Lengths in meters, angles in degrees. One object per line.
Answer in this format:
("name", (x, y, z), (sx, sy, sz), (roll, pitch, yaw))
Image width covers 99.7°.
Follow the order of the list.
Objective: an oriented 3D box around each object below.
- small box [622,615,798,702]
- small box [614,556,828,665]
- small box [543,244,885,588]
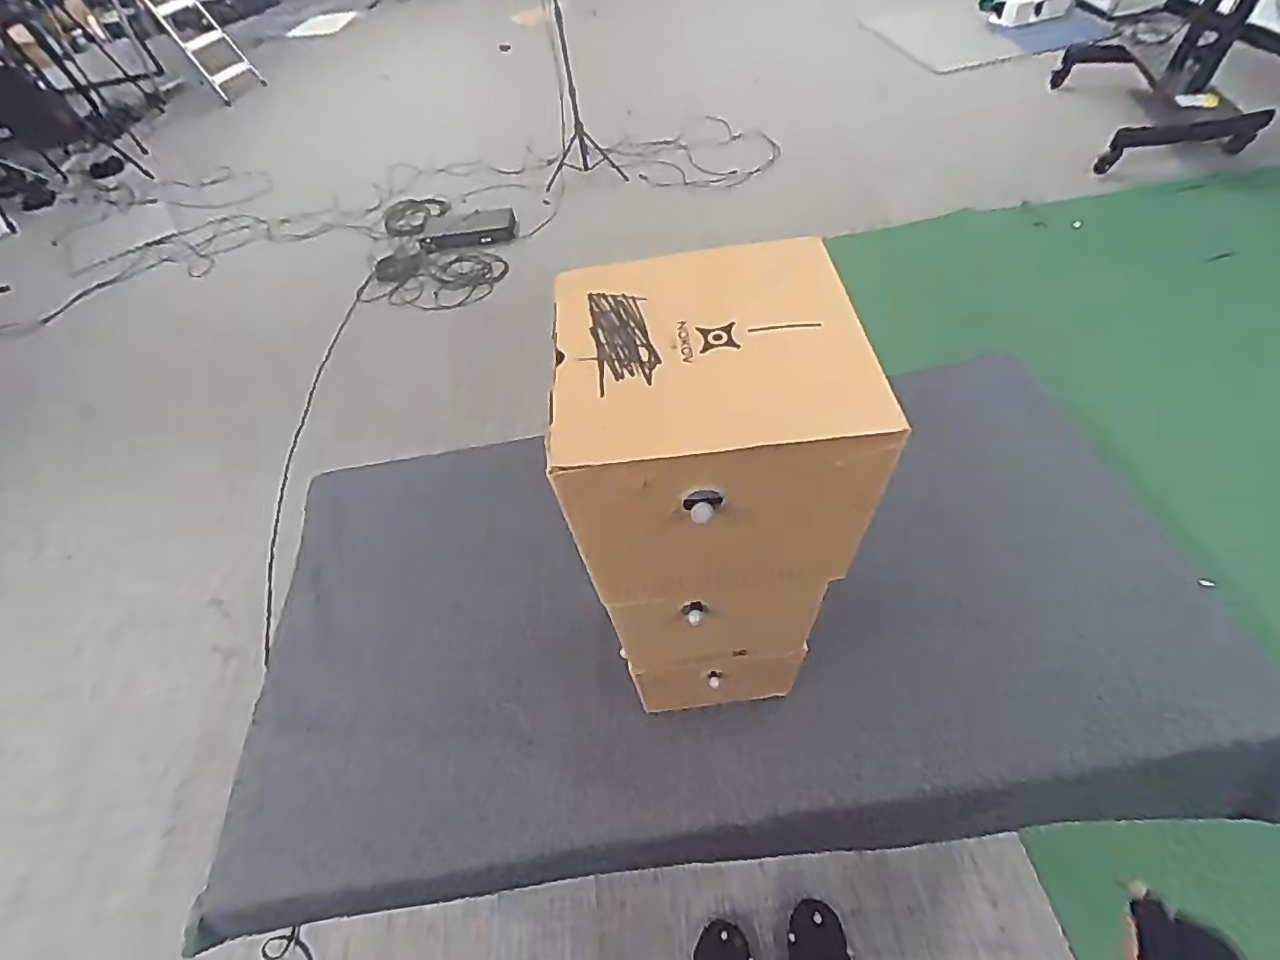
("small box", (0.074, 0.154, 0.646), (0.179, 0.176, 0.168), (-8, 54, 1))
("small box", (0.059, 0.058, 0.519), (0.168, 0.176, 0.179), (-9, 55, 0))
("small box", (0.041, -0.035, 0.380), (0.179, 0.176, 0.168), (-6, 55, 3))
